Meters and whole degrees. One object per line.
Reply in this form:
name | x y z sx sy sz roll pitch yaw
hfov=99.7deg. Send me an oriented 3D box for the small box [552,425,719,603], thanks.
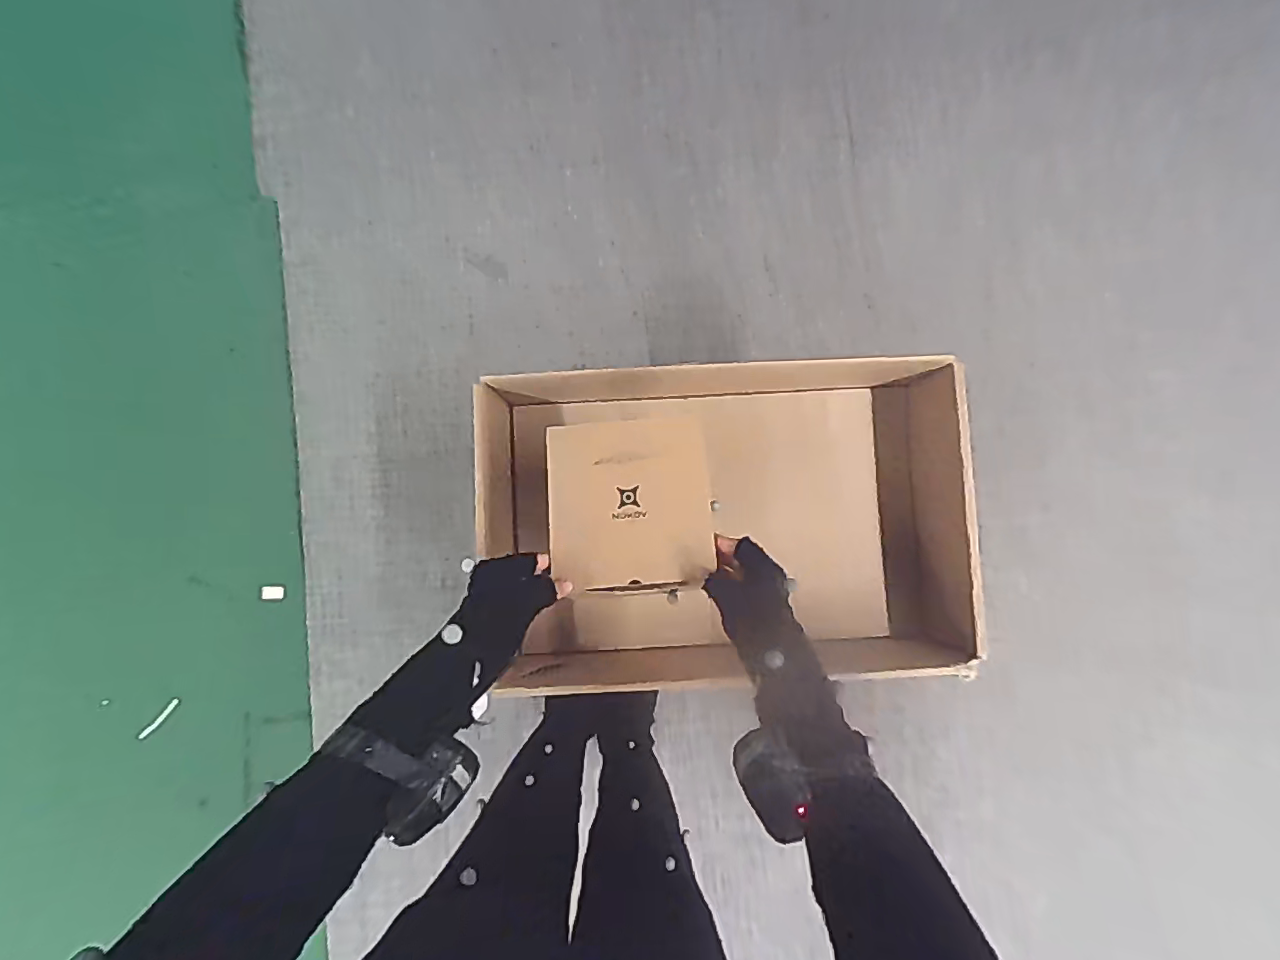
small box | -0.004 0.051 0.631 0.168 0.176 0.179 -5 75 1
